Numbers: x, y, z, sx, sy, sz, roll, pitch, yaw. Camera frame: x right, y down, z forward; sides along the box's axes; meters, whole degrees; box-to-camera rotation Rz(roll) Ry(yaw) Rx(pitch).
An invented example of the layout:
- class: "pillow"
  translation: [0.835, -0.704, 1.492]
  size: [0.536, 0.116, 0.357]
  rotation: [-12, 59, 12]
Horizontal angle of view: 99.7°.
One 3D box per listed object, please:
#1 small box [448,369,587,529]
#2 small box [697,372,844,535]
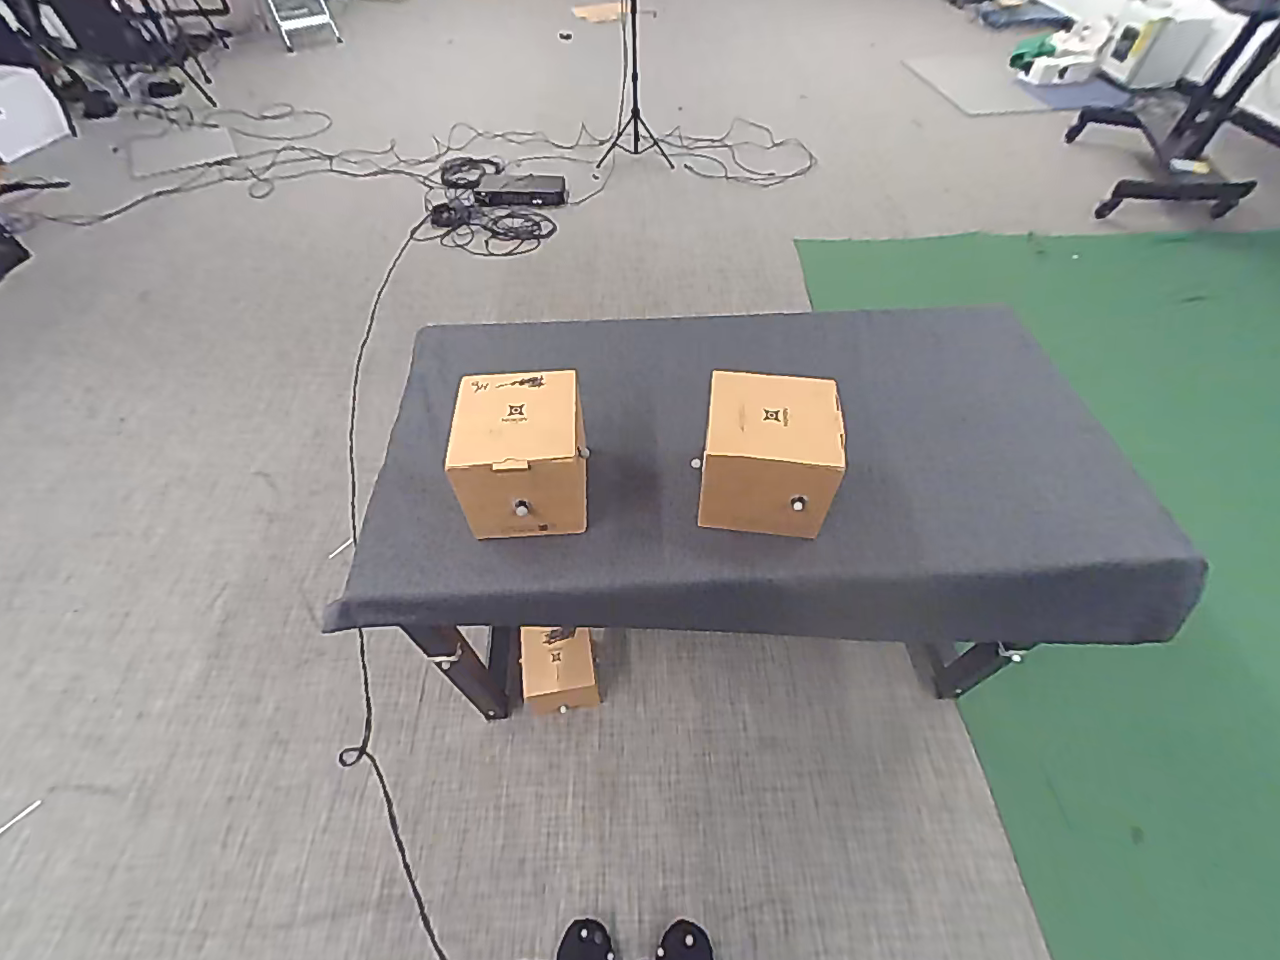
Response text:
- class: "small box"
  translation: [-0.166, -0.039, 0.794]
  size: [0.168, 0.176, 0.179]
  rotation: [-3, 52, -3]
- class: "small box"
  translation: [0.182, -0.035, 0.794]
  size: [0.179, 0.176, 0.168]
  rotation: [5, 51, 5]
